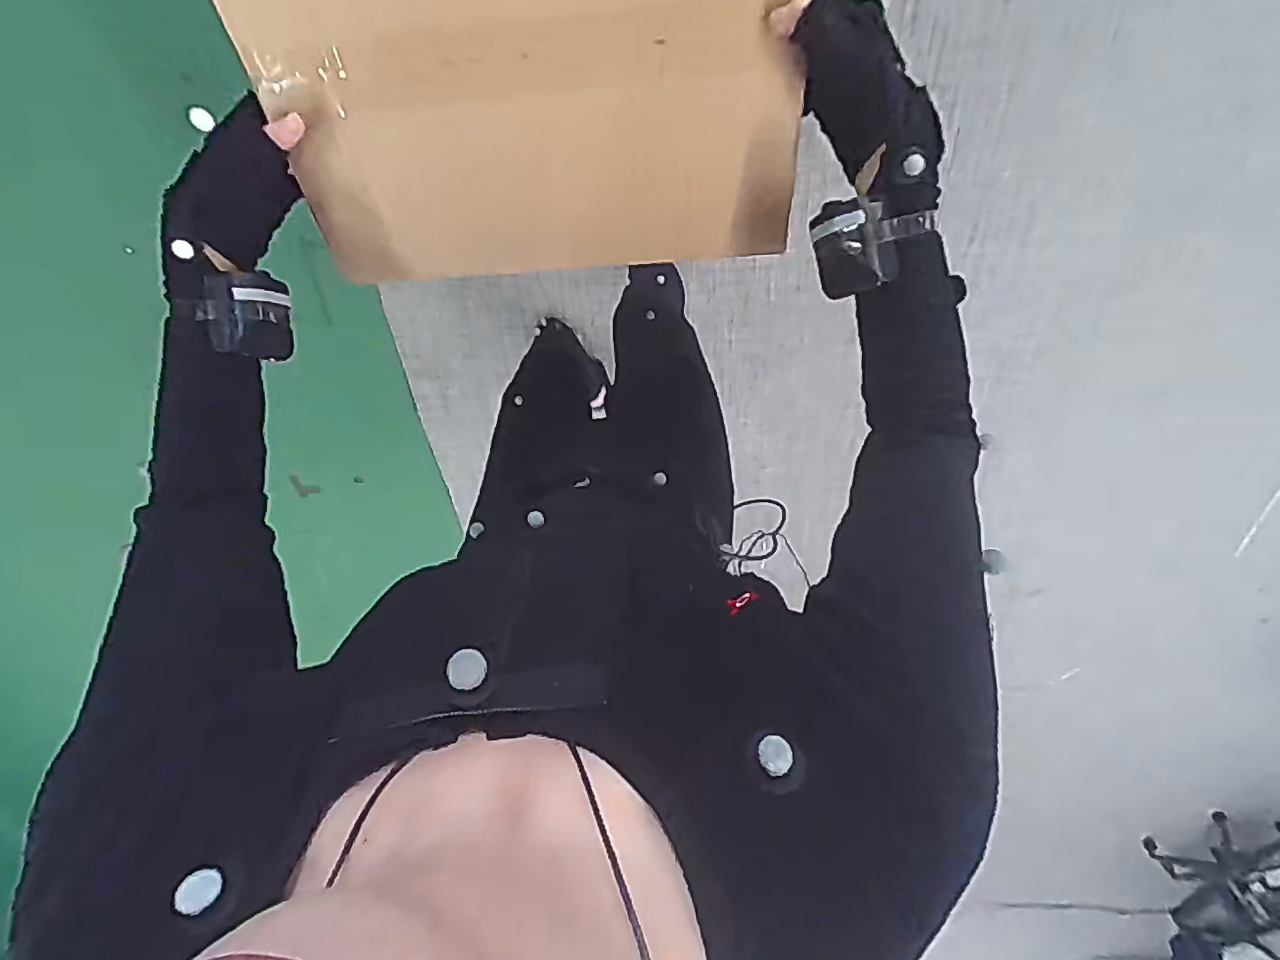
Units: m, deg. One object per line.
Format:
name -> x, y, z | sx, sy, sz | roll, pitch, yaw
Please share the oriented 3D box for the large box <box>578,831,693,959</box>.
large box -> -0.006, 1.339, 1.671 | 0.320, 0.320, 0.408 | 1, 126, 2
